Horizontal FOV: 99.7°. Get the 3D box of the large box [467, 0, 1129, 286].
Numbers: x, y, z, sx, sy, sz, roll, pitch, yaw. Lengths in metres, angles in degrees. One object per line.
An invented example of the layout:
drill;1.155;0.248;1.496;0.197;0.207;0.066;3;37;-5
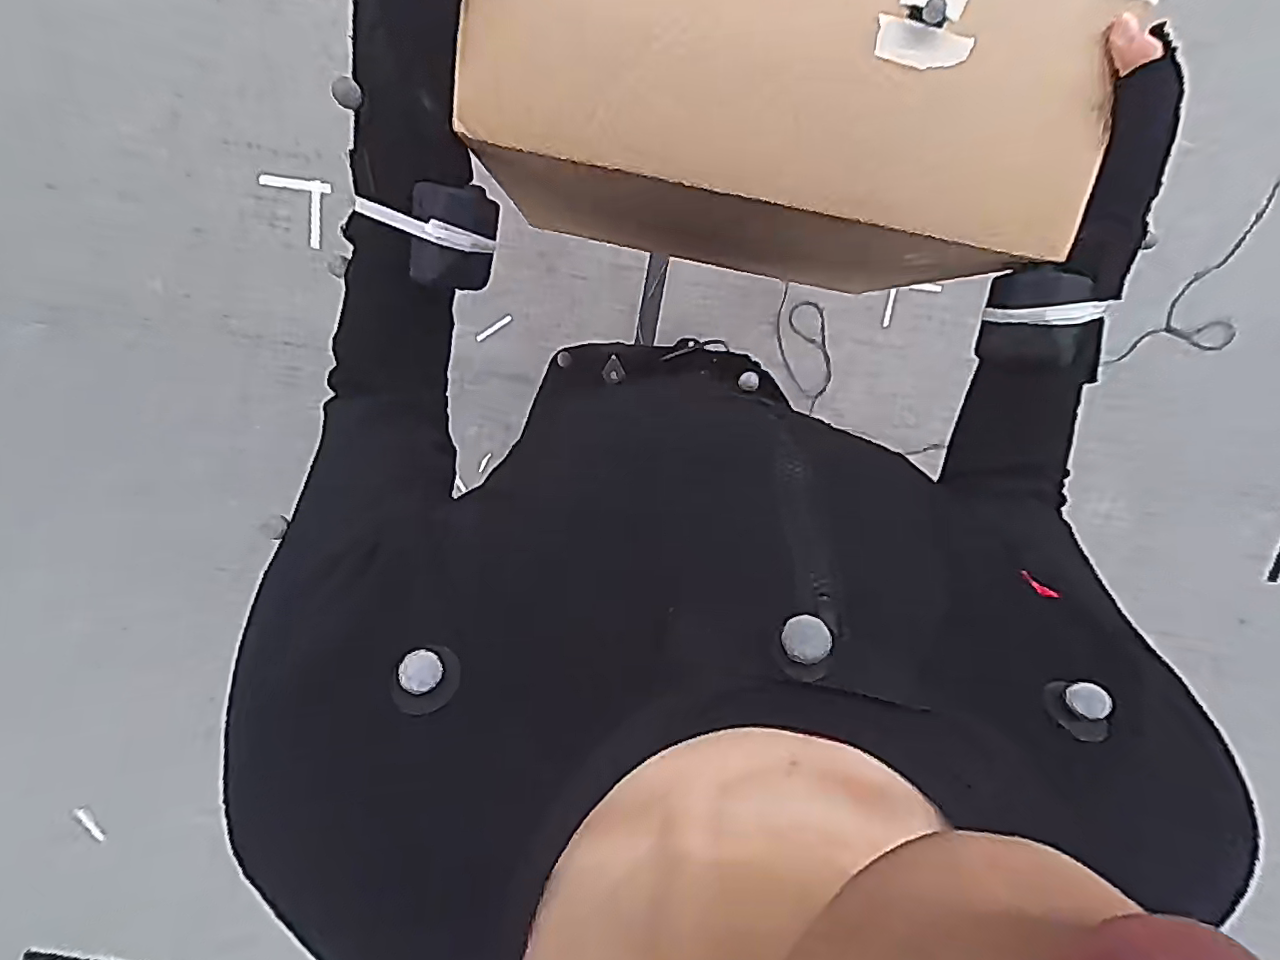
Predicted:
large box;0.099;-0.368;0.460;0.408;0.320;0.320;9;106;-6
